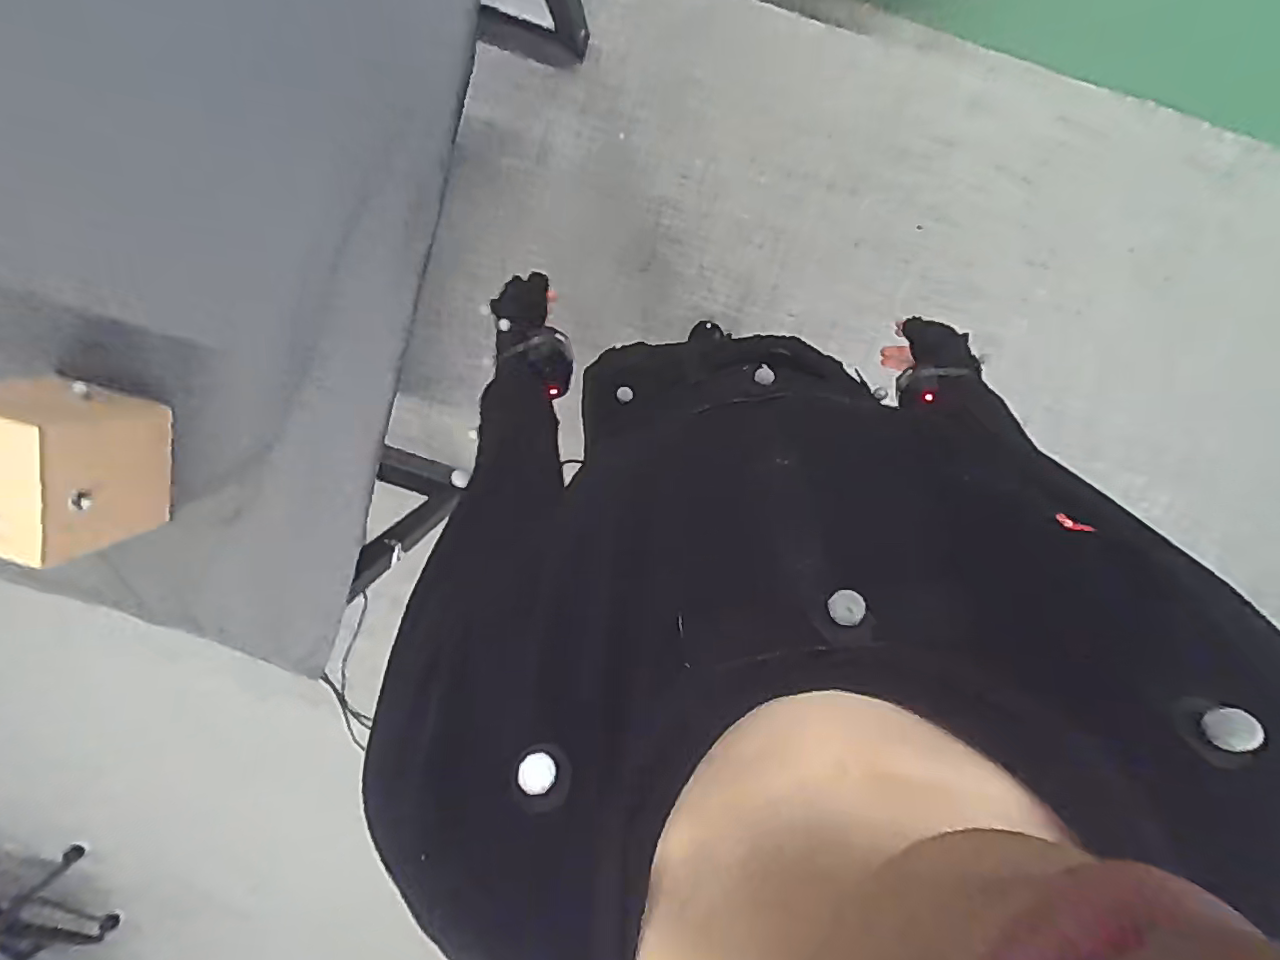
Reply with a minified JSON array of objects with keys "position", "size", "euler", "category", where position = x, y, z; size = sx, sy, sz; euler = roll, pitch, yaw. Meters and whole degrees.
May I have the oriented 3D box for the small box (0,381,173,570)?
[{"position":[-0.743,-0.016,0.685],"size":[0.168,0.176,0.179],"euler":[15,105,-1],"category":"small box"}]
